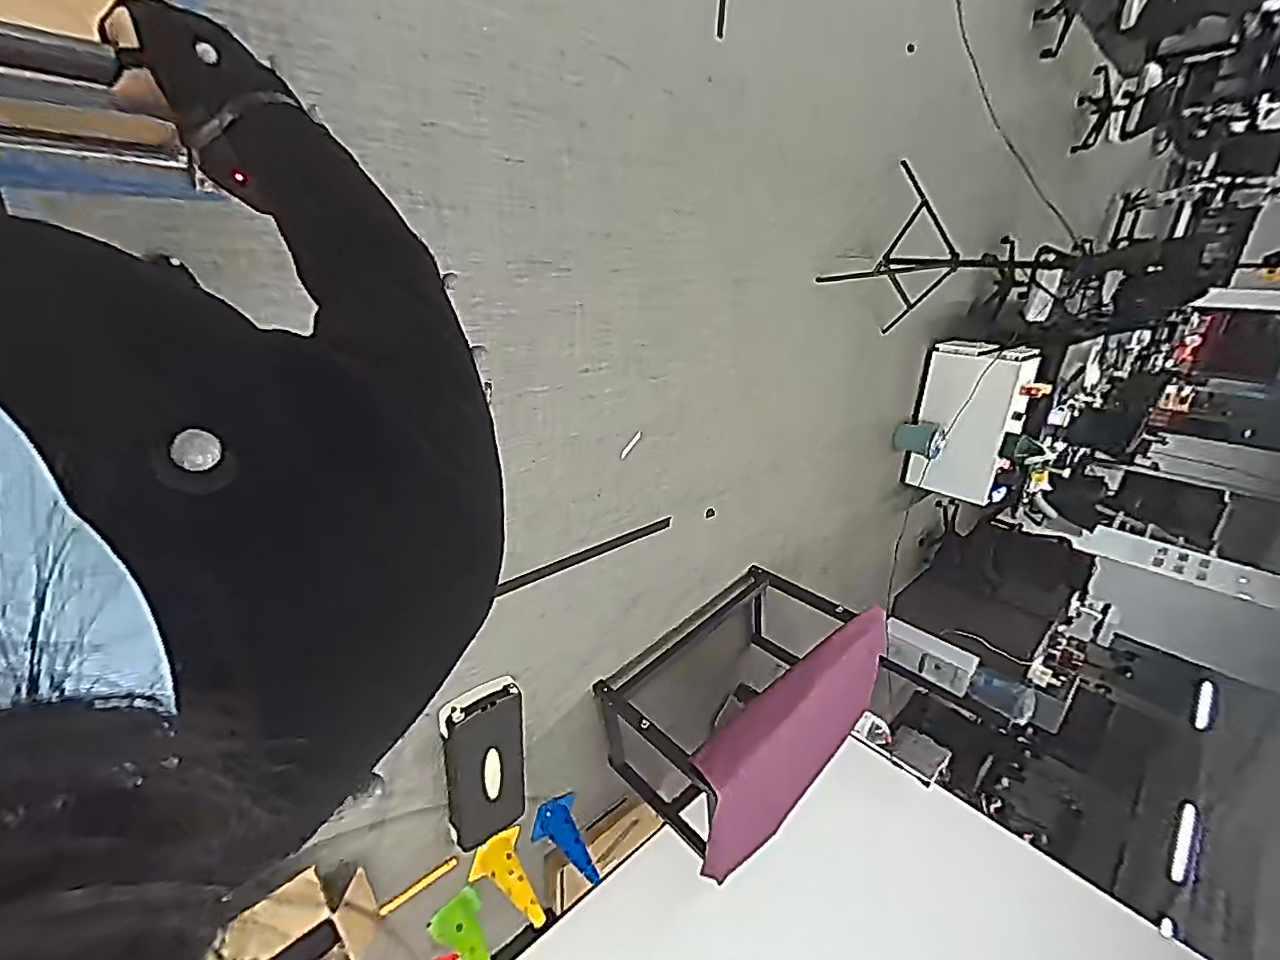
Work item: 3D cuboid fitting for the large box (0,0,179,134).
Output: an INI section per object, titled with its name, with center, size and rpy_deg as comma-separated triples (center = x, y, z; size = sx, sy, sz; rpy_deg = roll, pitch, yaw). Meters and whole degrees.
[large box]
center = -0.862, -0.646, 0.645
size = 0.408, 0.320, 0.320
rpy_deg = -17, 118, -41
